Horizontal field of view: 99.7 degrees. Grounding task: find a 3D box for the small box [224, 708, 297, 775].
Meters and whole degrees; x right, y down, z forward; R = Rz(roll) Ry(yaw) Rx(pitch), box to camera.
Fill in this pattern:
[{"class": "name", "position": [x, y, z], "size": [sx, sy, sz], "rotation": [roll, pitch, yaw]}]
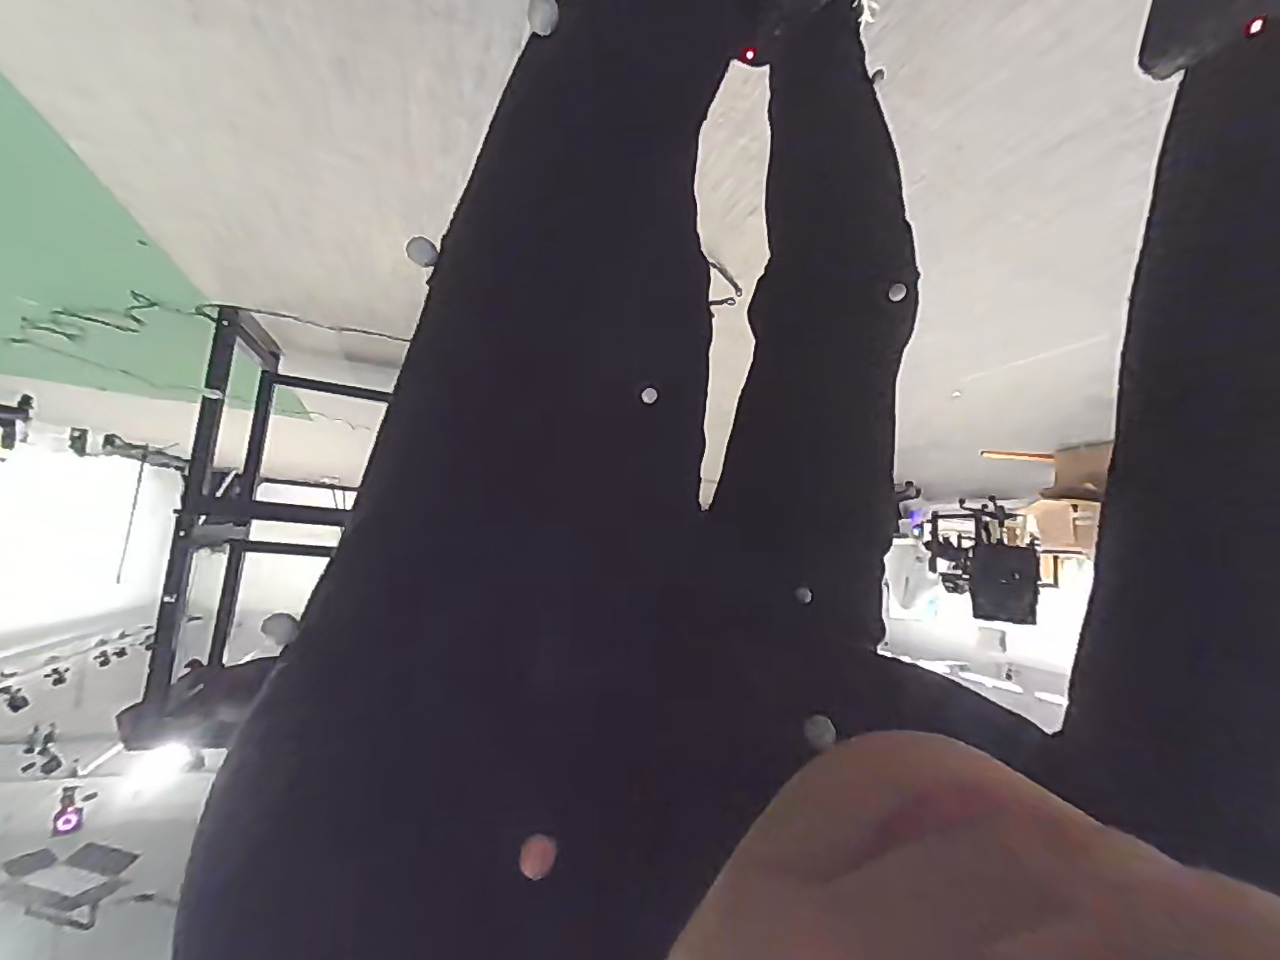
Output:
[{"class": "small box", "position": [-1.343, 0.923, 1.926], "size": [0.179, 0.176, 0.168], "rotation": [10, 173, -22]}]
